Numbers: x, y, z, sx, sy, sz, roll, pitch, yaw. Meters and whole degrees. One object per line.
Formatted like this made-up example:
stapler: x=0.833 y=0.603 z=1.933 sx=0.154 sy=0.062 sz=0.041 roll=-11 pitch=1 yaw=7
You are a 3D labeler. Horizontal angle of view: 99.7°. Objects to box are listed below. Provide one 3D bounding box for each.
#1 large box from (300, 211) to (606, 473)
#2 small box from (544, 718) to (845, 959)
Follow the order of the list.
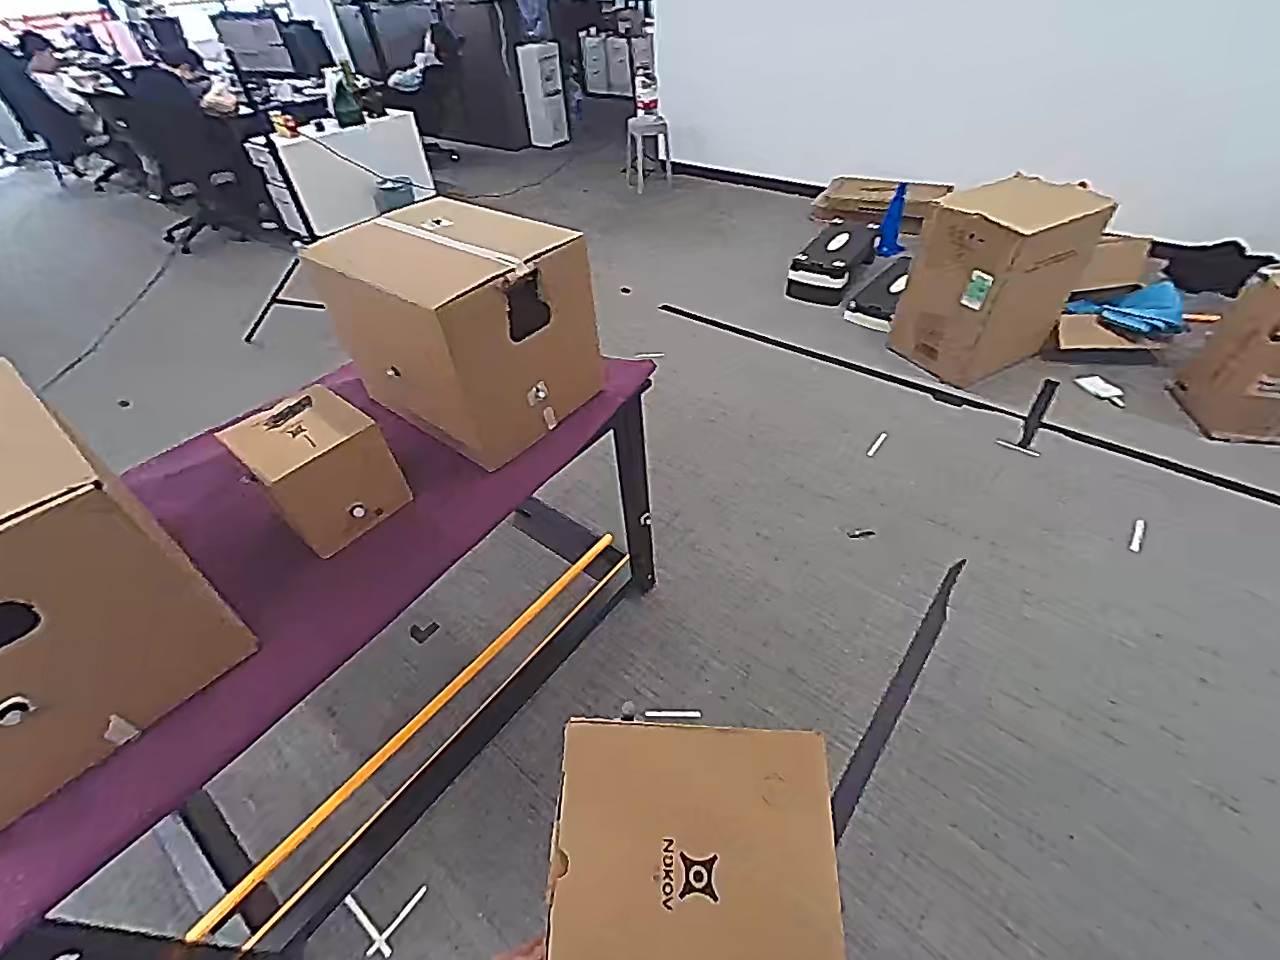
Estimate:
large box: x=-0.324 y=-0.272 z=1.017 sx=0.408 sy=0.320 sz=0.320 roll=26 pitch=52 yaw=29
small box: x=0.041 y=0.272 z=0.402 sx=0.179 sy=0.176 sz=0.168 roll=-1 pitch=64 yaw=9
